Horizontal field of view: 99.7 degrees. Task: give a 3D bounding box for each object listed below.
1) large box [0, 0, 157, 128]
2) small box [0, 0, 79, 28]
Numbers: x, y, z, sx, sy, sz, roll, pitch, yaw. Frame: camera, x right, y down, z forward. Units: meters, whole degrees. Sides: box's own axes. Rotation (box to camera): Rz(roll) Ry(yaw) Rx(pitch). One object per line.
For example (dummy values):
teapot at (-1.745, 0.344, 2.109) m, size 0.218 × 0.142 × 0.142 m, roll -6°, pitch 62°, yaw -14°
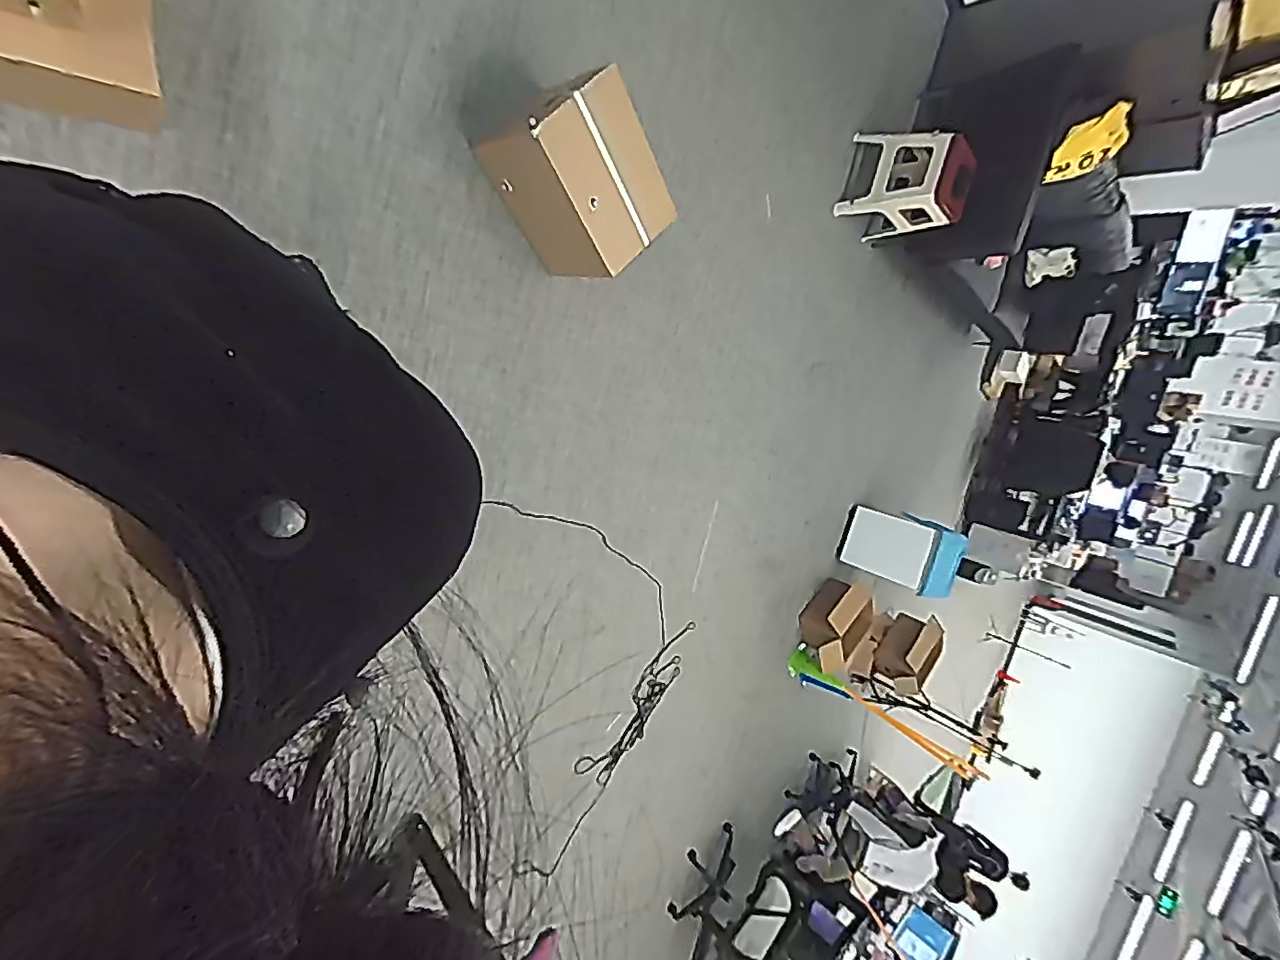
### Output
large box at (-0.974, -0.742, 0.758) m, size 0.408 × 0.320 × 0.320 m, roll -10°, pitch 111°, yaw -41°
small box at (-0.778, -0.670, 0.621) m, size 0.168 × 0.176 × 0.179 m, roll -10°, pitch 113°, yaw -43°
